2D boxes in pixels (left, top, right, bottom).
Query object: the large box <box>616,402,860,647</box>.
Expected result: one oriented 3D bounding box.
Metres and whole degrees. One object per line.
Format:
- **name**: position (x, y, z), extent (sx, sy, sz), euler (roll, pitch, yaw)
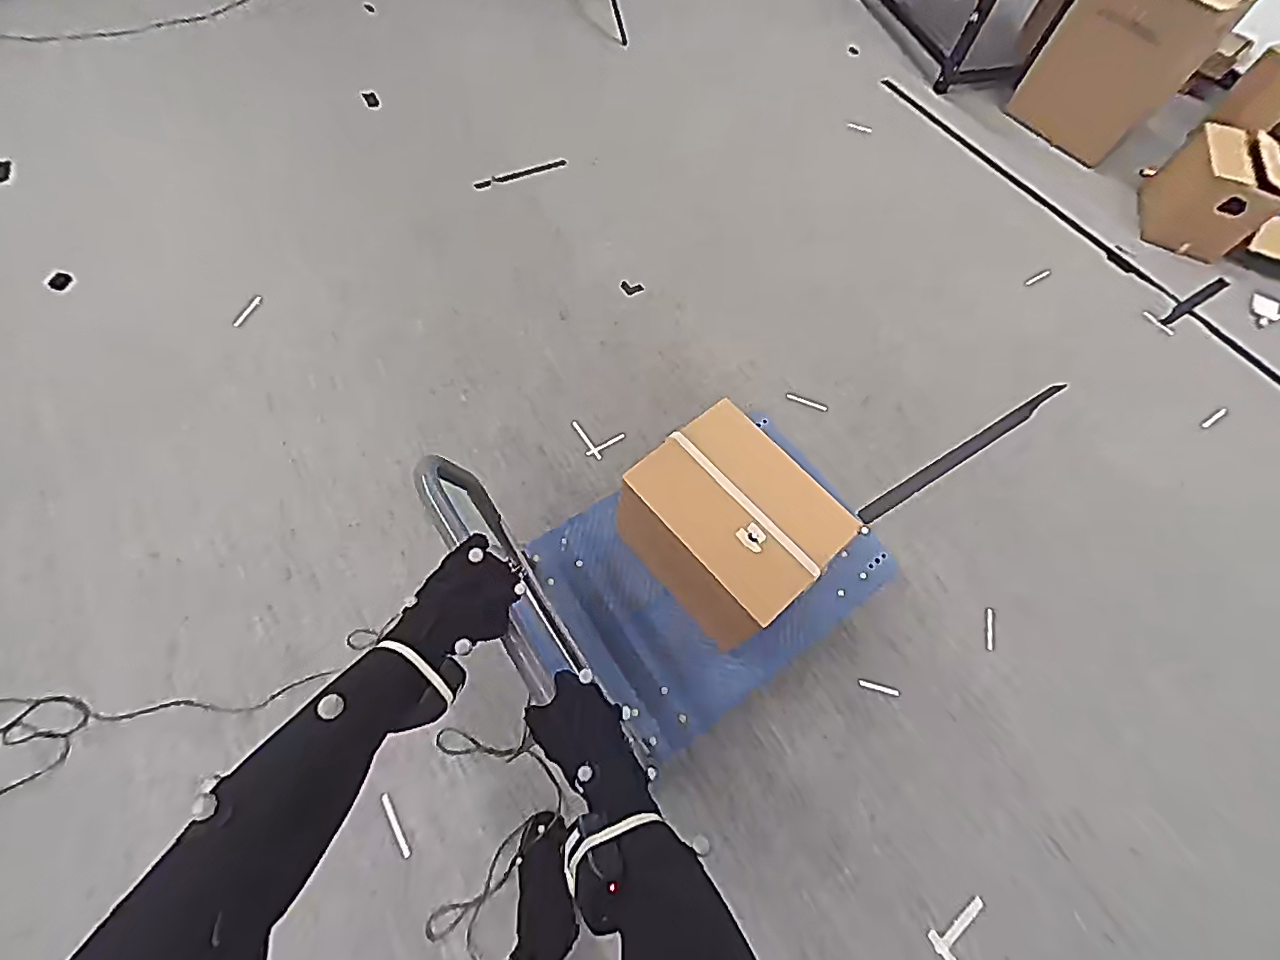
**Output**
- **large box**: position (0.194, 0.108, 1.237), extent (0.320, 0.320, 0.408), euler (-38, 74, -20)
